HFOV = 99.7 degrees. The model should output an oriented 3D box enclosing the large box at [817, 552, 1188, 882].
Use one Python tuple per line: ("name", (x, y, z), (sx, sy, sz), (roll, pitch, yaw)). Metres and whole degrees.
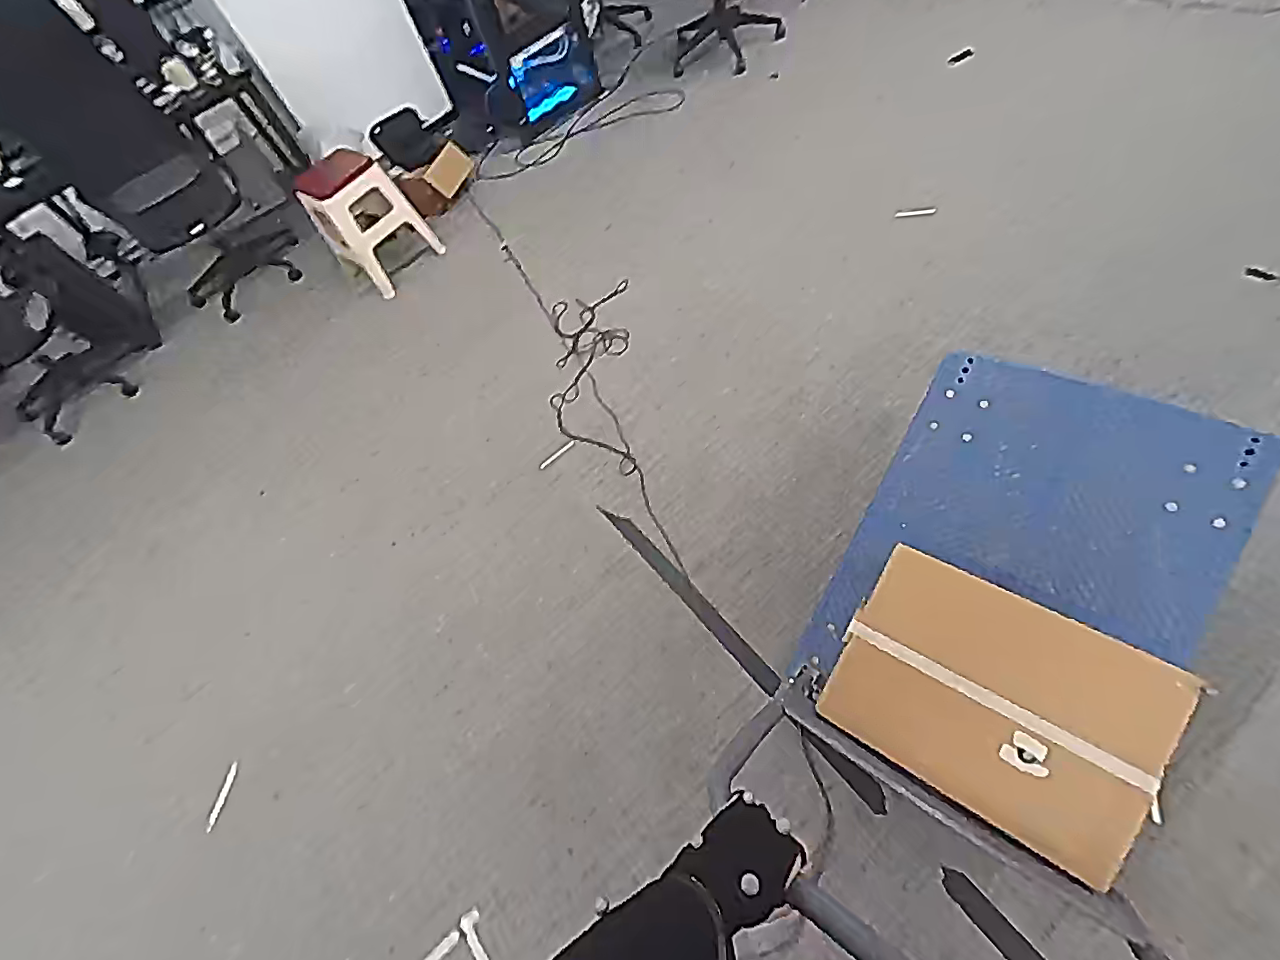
("large box", (0.572, 0.363, 0.946), (0.408, 0.320, 0.320), (27, 89, 27))
